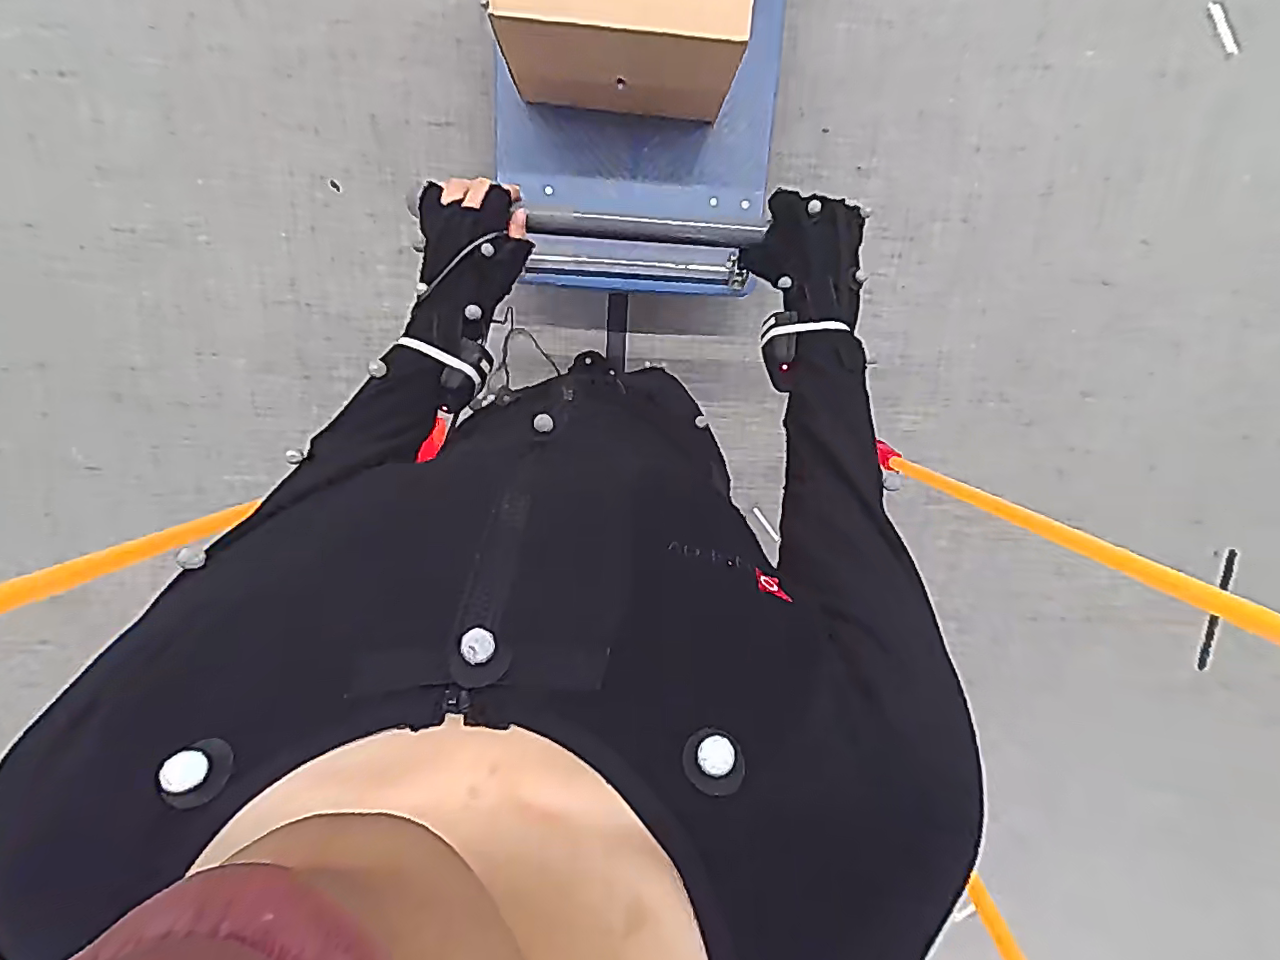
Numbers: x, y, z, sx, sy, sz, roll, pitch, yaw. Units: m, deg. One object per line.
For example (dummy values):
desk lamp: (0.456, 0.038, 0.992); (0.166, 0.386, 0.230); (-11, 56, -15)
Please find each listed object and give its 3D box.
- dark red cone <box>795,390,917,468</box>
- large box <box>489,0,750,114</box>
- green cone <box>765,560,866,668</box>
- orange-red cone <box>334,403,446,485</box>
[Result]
dark red cone: (0.523, -0.095, 1.271); (0.201, 0.394, 0.202); (2, 104, -4)
large box: (-0.026, -0.876, 0.938); (0.408, 0.320, 0.320); (4, 104, -2)
green cone: (0.479, 0.372, 1.397); (0.202, 0.368, 0.200); (6, 103, -5)
orange-red cone: (-0.610, -0.057, 1.261); (0.198, 0.360, 0.199); (9, 101, -5)
